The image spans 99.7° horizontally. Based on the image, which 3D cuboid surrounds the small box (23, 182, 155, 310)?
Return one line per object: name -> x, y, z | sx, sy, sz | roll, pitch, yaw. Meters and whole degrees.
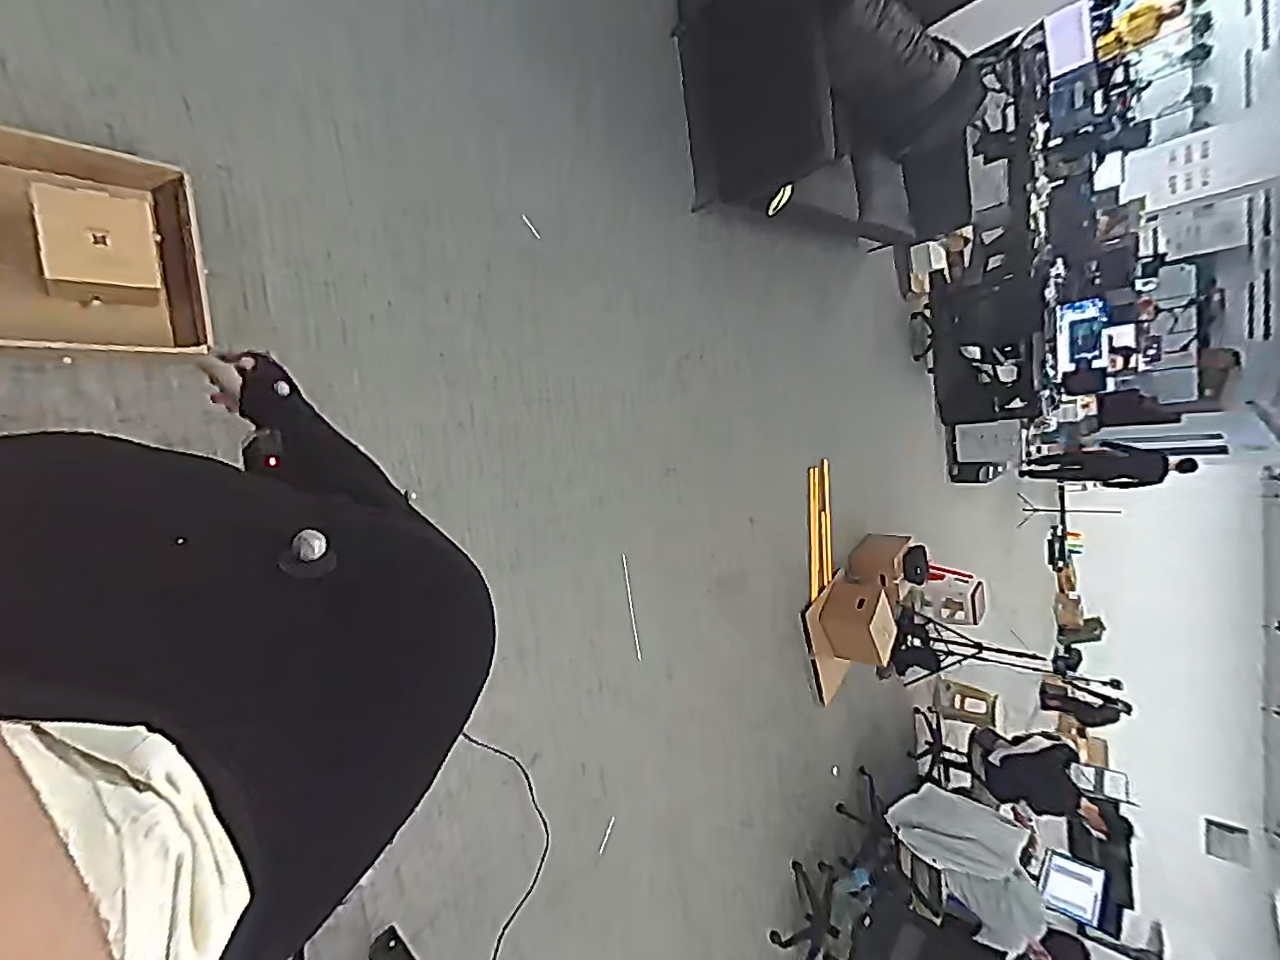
small box -> -1.106, -0.459, 1.091 | 0.168, 0.176, 0.179 | -9, 95, -44
